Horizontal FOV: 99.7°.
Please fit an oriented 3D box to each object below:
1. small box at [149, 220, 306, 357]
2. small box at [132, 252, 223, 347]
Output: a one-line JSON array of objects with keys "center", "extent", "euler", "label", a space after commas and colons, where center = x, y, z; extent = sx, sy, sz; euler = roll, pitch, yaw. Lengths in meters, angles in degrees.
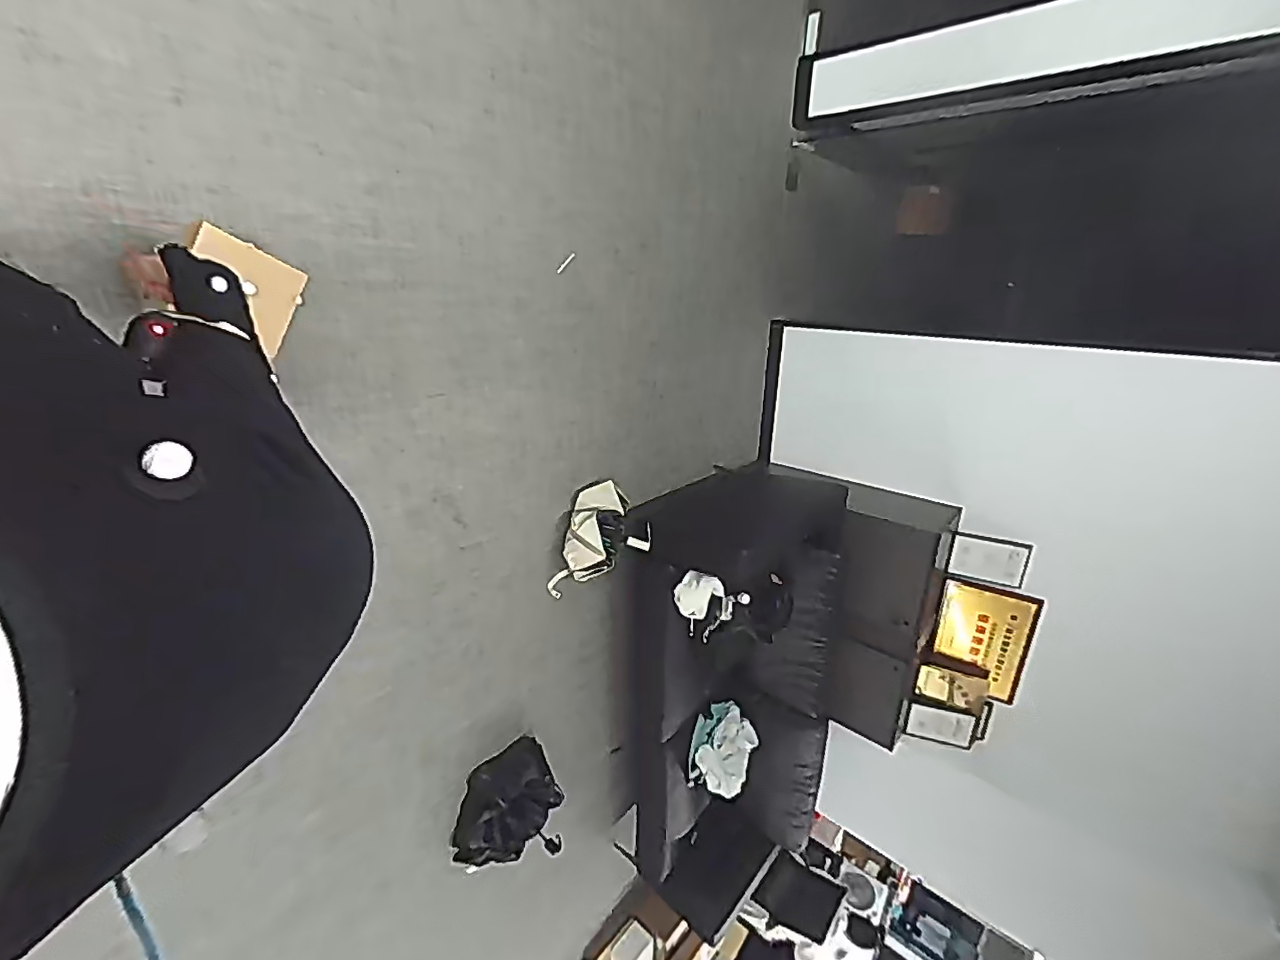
[{"center": [-0.760, -0.348, 0.993], "extent": [0.168, 0.176, 0.179], "euler": [24, 86, -52], "label": "small box"}, {"center": [-0.876, -0.368, 1.084], "extent": [0.179, 0.176, 0.168], "euler": [-27, 125, -43], "label": "small box"}]
